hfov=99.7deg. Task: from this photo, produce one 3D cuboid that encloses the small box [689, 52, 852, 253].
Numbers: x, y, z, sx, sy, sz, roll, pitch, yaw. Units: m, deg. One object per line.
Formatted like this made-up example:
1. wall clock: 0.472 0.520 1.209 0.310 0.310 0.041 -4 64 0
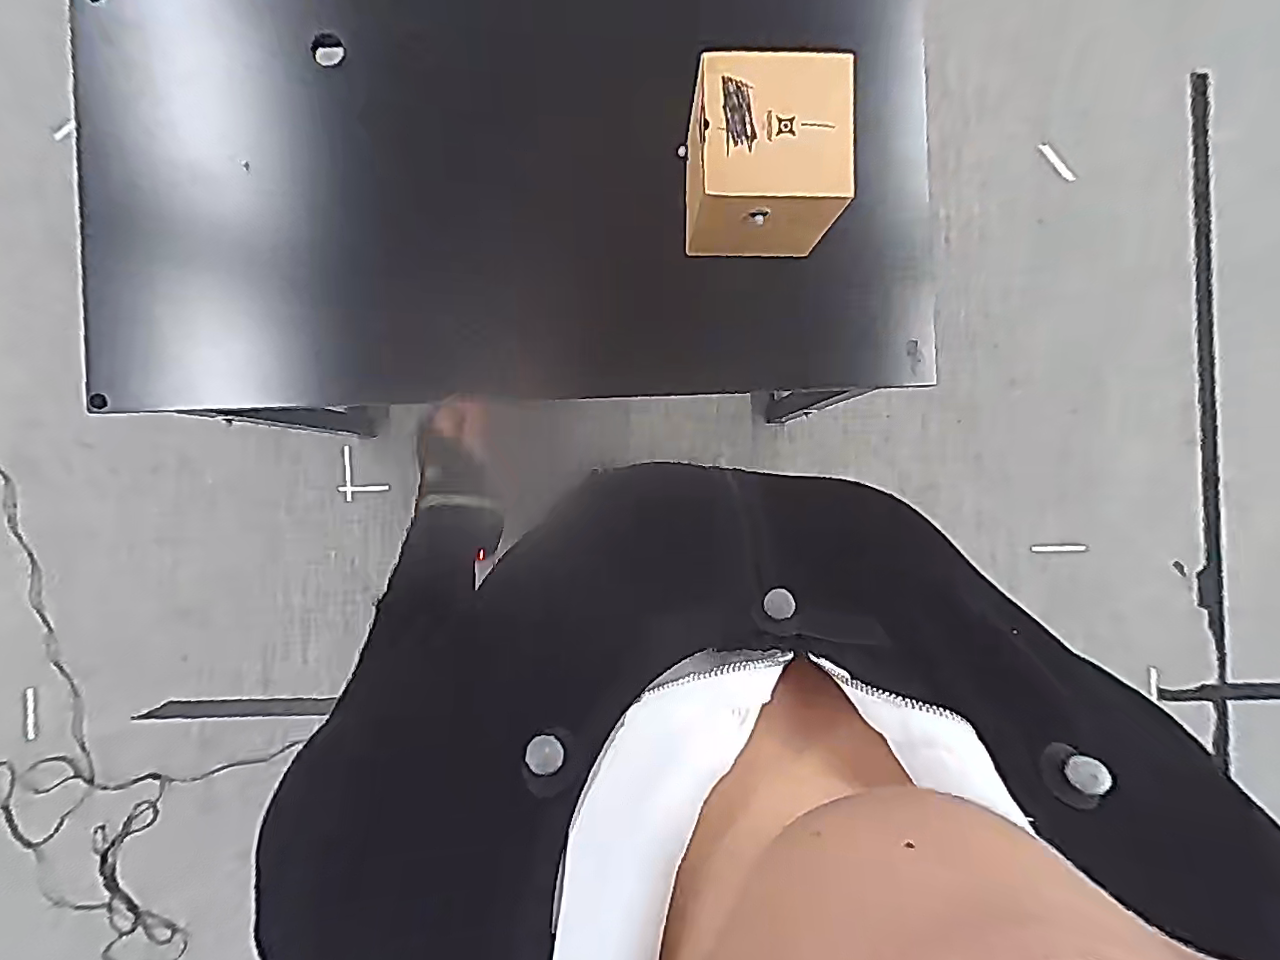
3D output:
1. small box: 0.158 -0.410 0.705 0.179 0.176 0.168 0 90 -2
